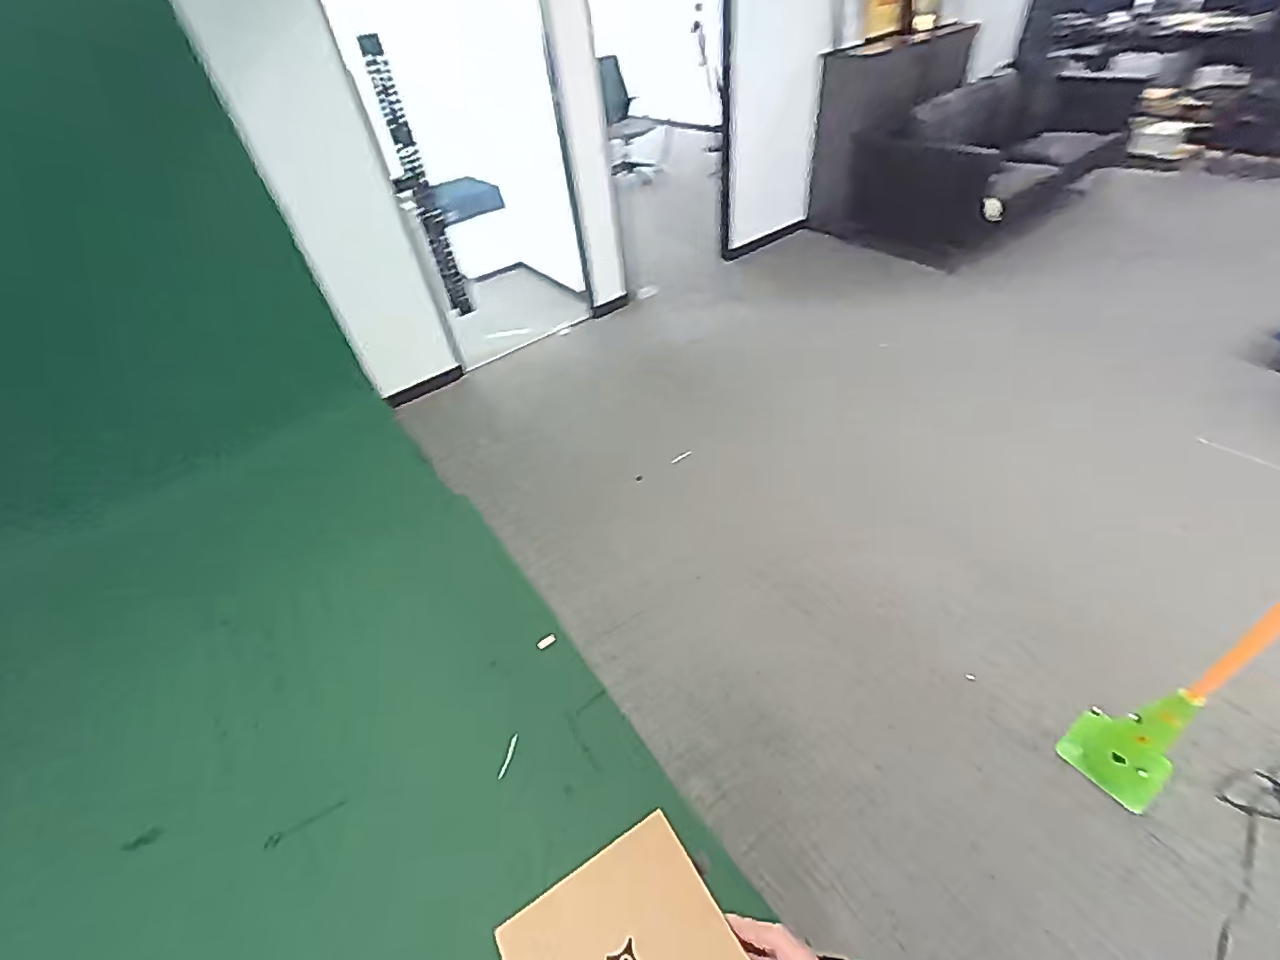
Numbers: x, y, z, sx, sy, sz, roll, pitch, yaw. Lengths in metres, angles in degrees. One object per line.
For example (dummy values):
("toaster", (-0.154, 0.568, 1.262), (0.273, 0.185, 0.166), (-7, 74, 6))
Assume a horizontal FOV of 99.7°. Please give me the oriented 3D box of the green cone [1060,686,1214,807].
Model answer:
("green cone", (1.227, 0.589, 1.293), (0.200, 0.368, 0.202), (-30, 49, -21))
